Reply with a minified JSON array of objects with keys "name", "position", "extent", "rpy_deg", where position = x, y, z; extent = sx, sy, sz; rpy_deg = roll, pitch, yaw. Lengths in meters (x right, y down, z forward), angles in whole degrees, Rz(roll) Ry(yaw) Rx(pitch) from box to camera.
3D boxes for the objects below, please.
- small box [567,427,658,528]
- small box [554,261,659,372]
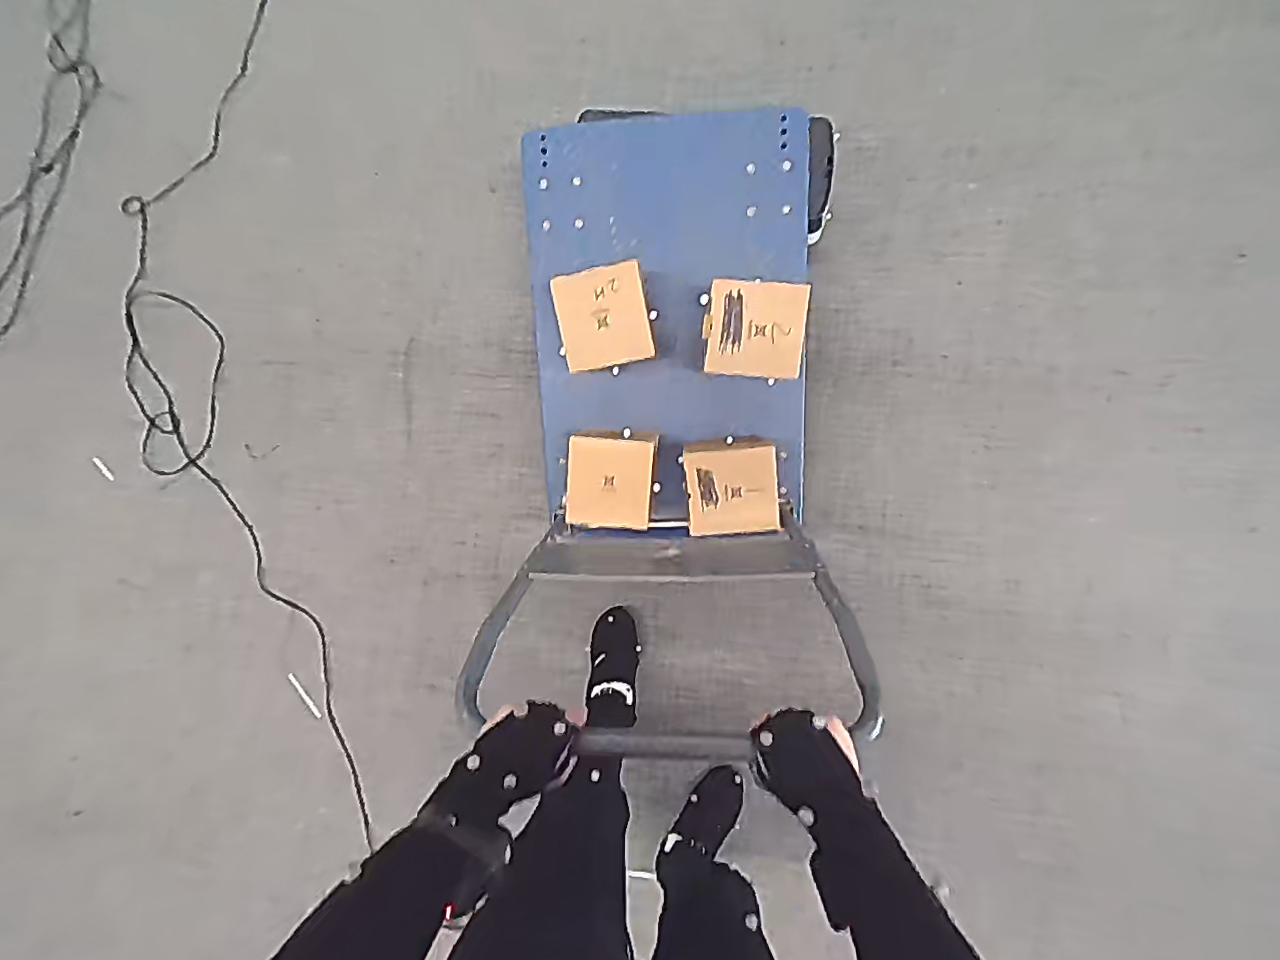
[{"name":"small box","position":[-0.052,-0.013,1.132],"extent":[0.168,0.176,0.179],"rpy_deg":[5,102,4]},{"name":"small box","position":[-0.058,-0.315,1.074],"extent":[0.168,0.176,0.179],"rpy_deg":[-10,100,6]}]
